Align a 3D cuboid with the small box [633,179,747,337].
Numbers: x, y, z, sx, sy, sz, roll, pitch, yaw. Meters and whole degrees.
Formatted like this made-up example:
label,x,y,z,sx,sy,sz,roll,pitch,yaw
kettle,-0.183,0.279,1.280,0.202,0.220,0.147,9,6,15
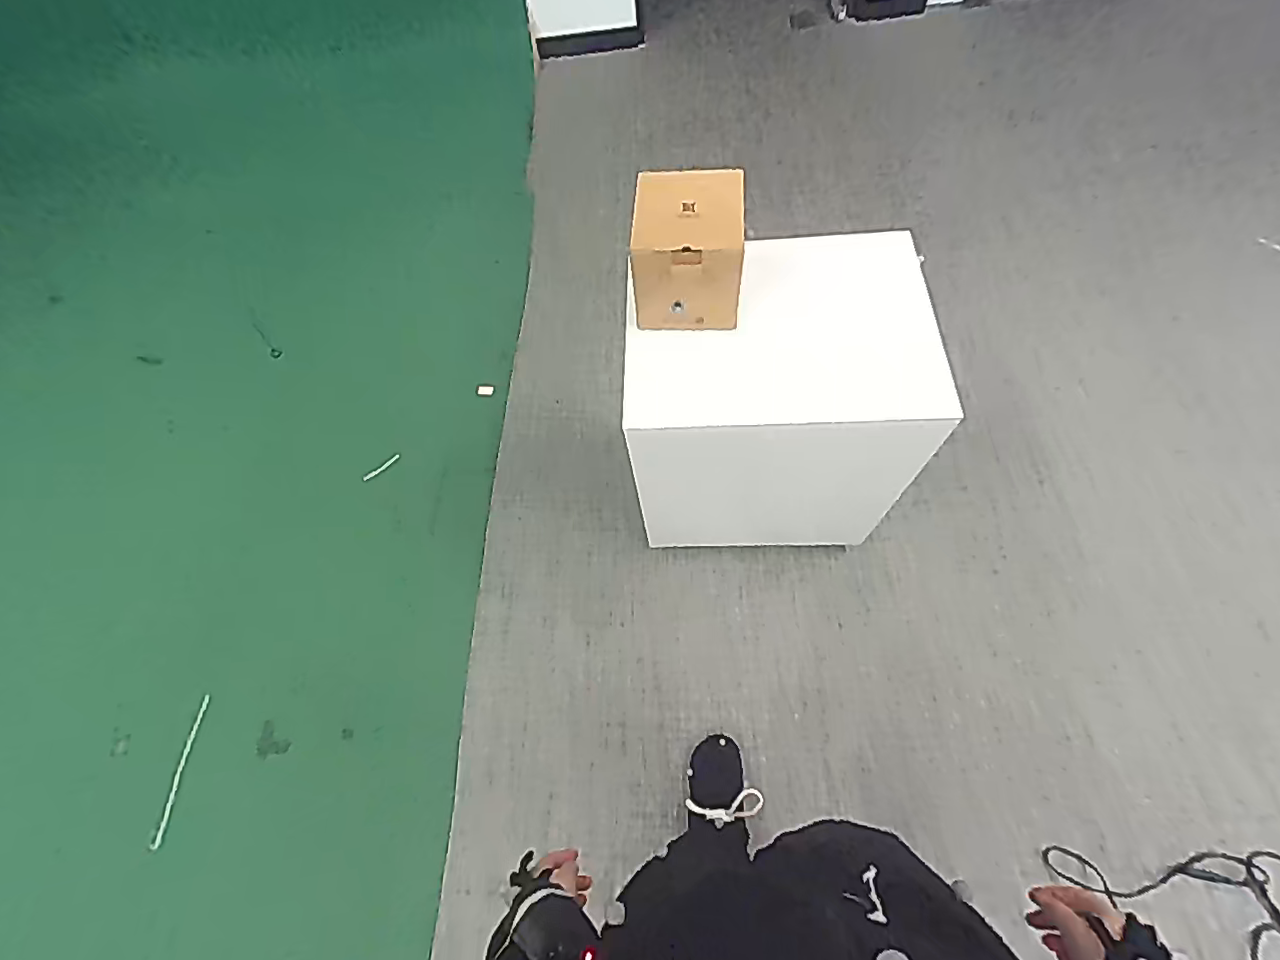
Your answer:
label,x,y,z,sx,sy,sz,roll,pitch,yaw
small box,0.082,-0.357,0.880,0.168,0.176,0.179,2,64,6
